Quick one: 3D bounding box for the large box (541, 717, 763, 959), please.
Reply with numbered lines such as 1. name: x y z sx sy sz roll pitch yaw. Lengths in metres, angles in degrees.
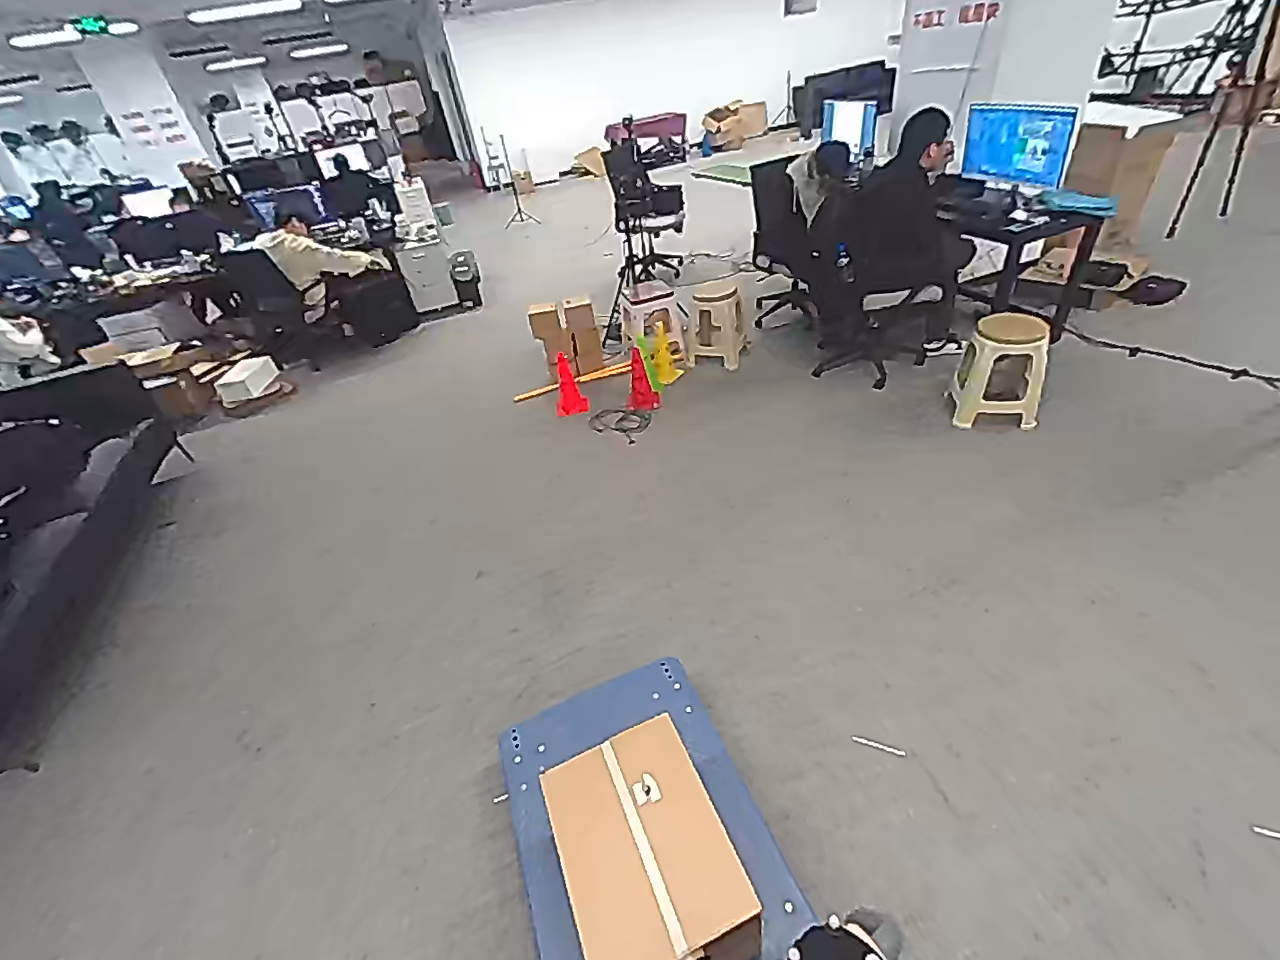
1. large box: 0.023 0.816 1.156 0.320 0.320 0.408 -21 39 -13
